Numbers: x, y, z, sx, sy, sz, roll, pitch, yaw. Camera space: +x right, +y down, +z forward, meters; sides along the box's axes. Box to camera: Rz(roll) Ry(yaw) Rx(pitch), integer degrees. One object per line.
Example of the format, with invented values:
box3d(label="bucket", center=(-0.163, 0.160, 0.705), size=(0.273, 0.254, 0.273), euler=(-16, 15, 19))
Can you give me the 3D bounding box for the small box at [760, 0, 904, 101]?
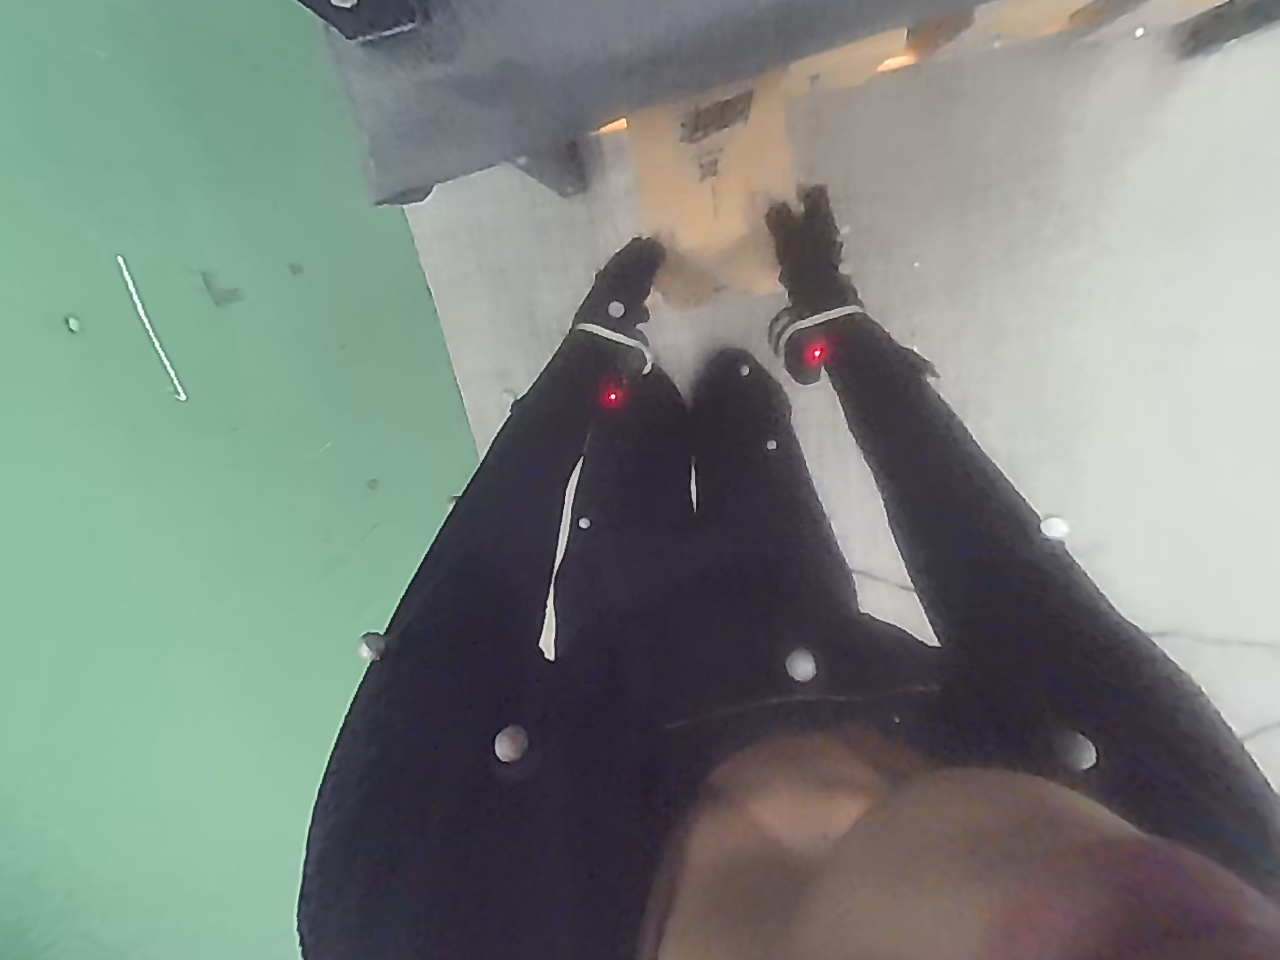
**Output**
box3d(label="small box", center=(0.275, -0.688, 0.799), size=(0.168, 0.176, 0.179), euler=(-8, 111, 5))
